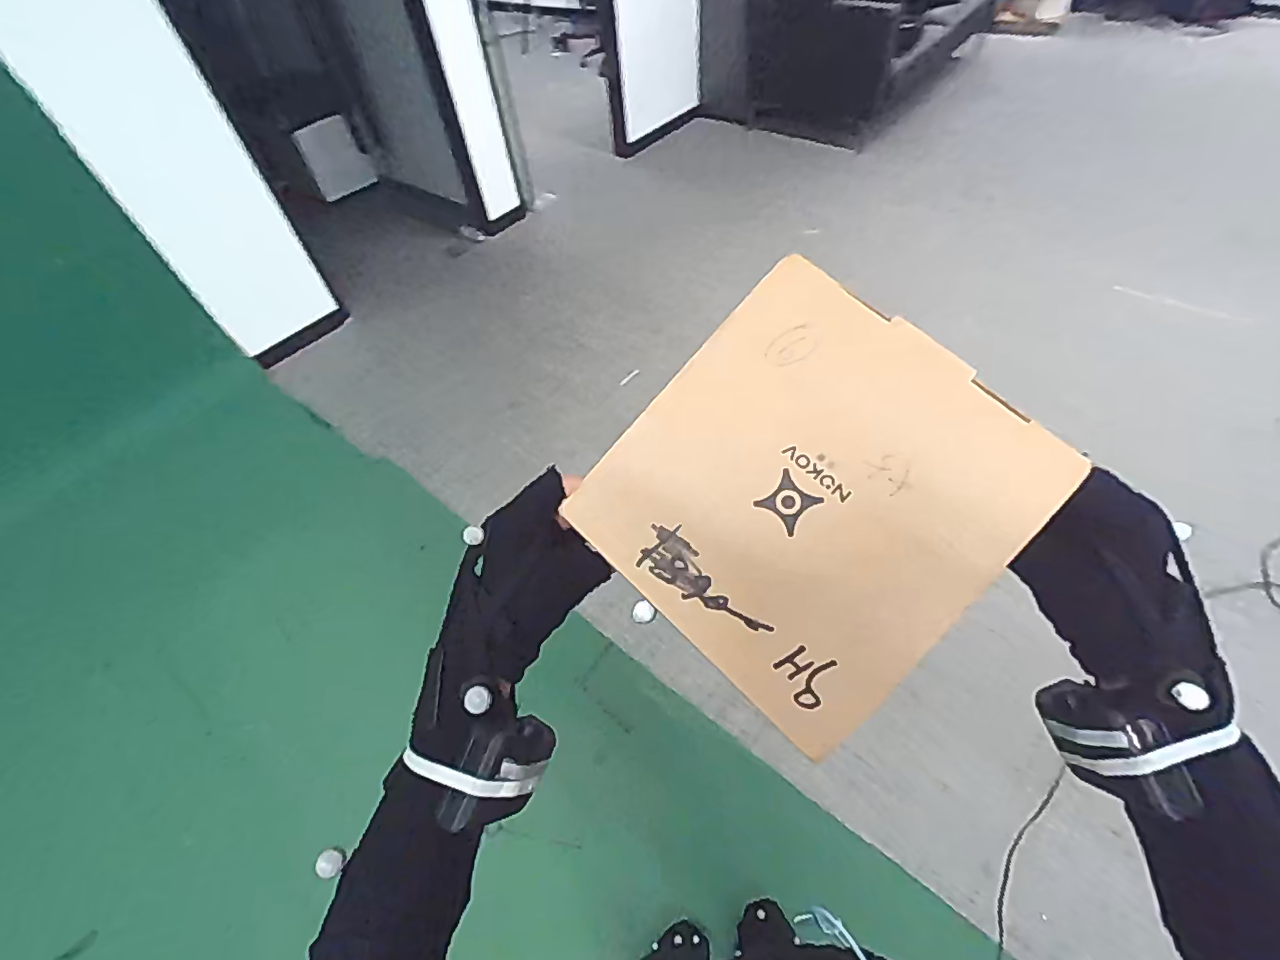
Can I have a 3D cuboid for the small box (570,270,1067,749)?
[{"bbox_3d":[0.091,0.019,0.336,0.168,0.176,0.179,43,91,15],"label":"small box"}]
